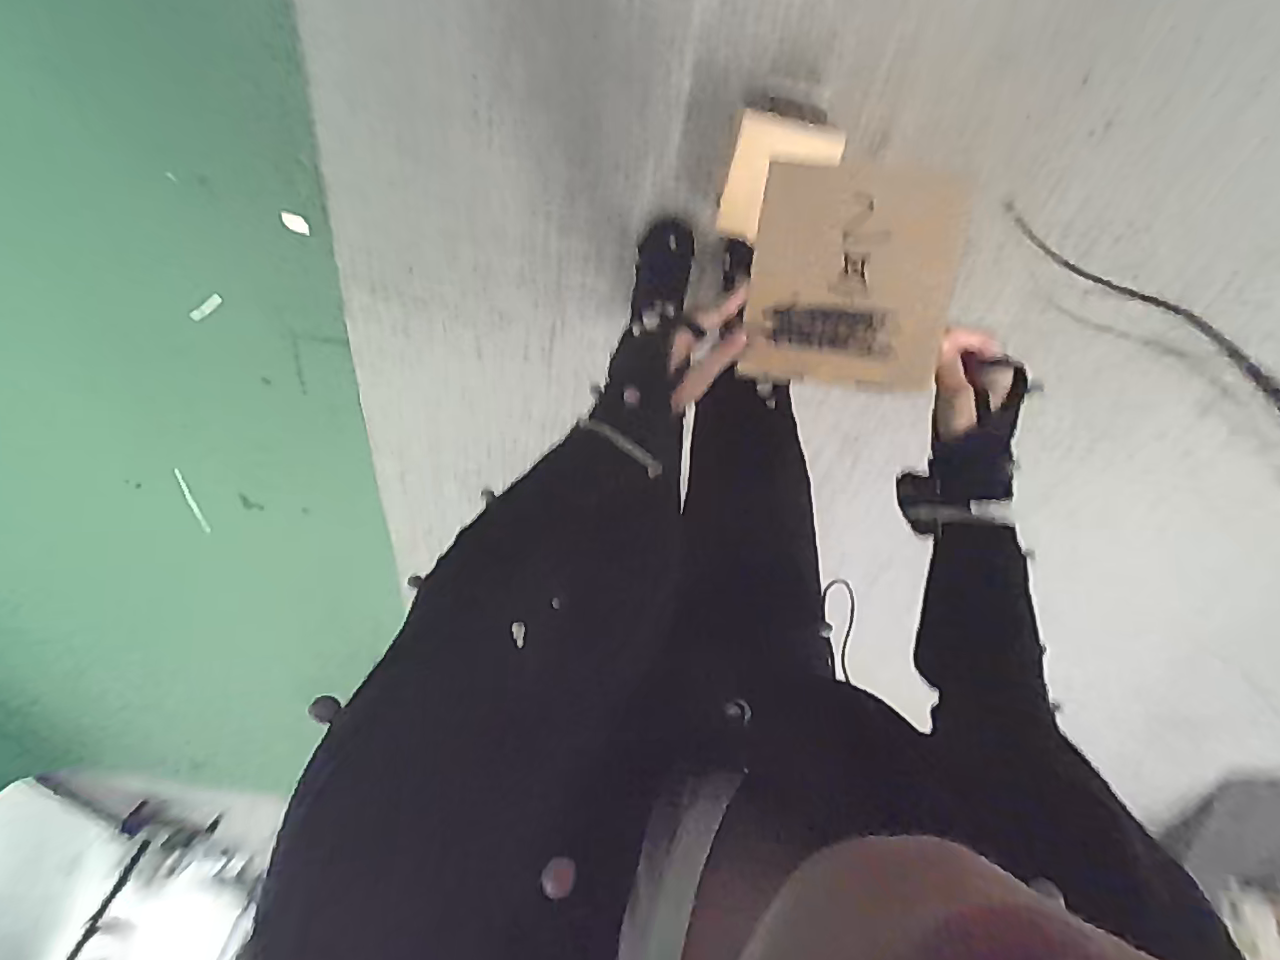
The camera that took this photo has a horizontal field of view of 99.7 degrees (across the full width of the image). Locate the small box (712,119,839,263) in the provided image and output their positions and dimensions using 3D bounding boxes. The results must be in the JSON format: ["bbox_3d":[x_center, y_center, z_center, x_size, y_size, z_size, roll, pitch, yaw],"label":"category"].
[{"bbox_3d":[0.229,-0.523,0.972,0.168,0.176,0.179,12,131,-4],"label":"small box"}]
